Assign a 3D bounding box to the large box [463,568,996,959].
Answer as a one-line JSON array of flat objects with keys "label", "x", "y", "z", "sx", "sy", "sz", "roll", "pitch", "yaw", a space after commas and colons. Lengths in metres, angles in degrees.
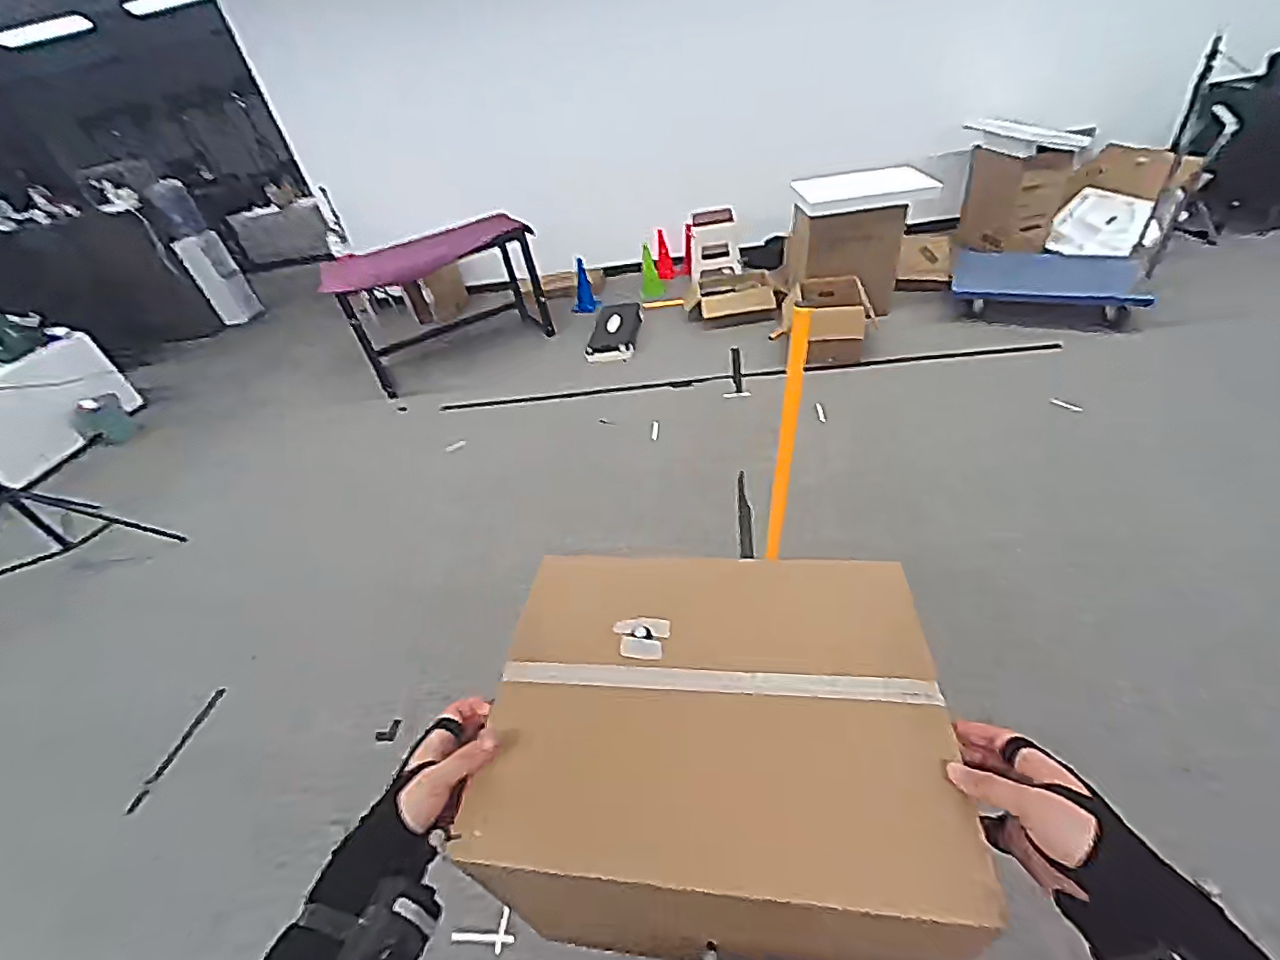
[{"label": "large box", "x": 0.089, "y": 0.318, "z": 0.607, "sx": 0.408, "sy": 0.320, "sz": 0.320, "roll": -2, "pitch": 39, "yaw": 11}]
